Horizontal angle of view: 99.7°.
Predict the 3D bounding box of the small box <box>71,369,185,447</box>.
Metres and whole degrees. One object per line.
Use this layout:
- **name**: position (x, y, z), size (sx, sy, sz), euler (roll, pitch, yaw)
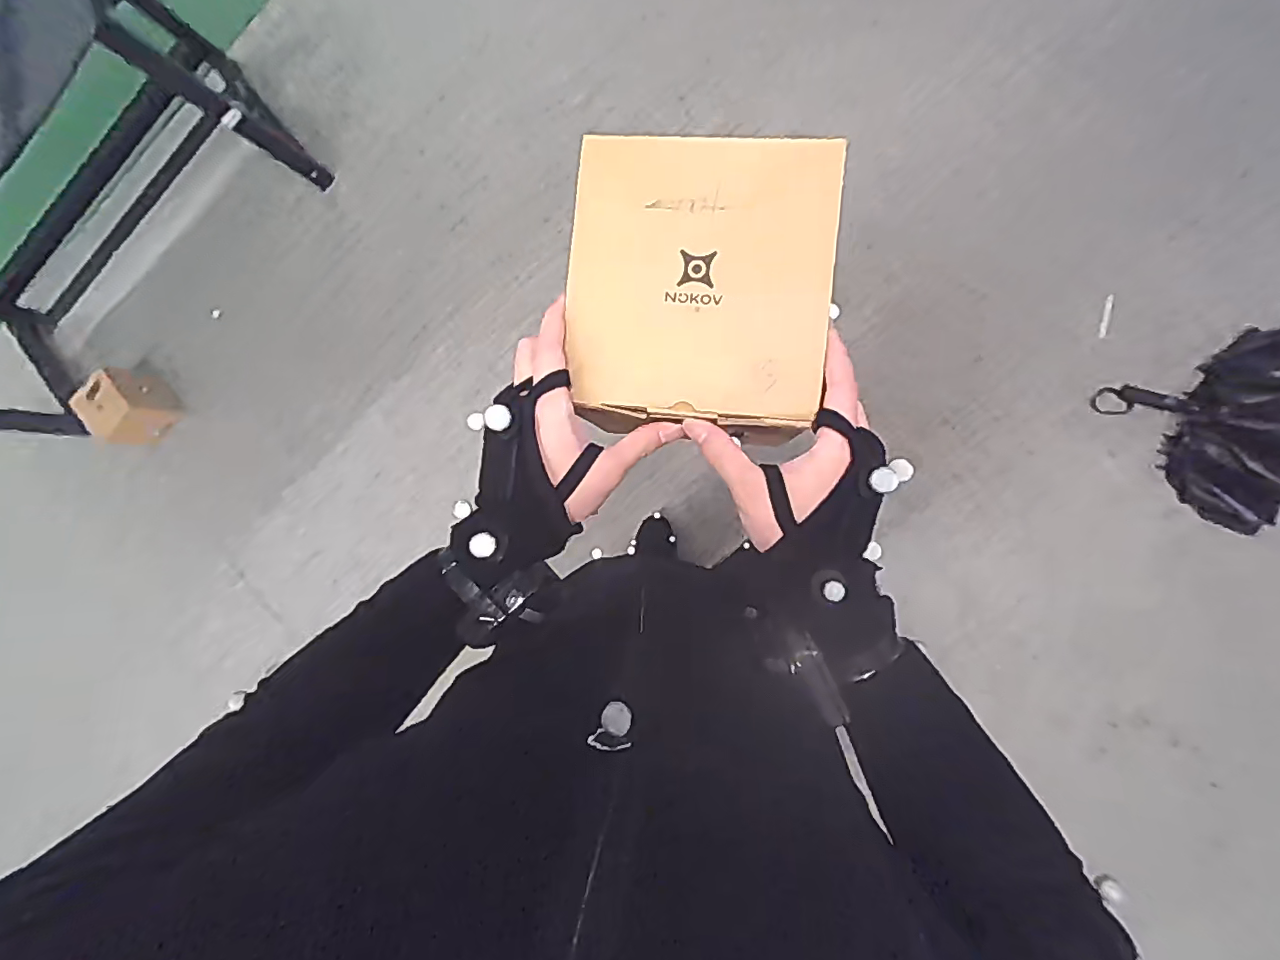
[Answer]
- **small box**: position (-1.594, -0.216, 1.691), size (0.168, 0.176, 0.179), euler (-42, 83, 10)
